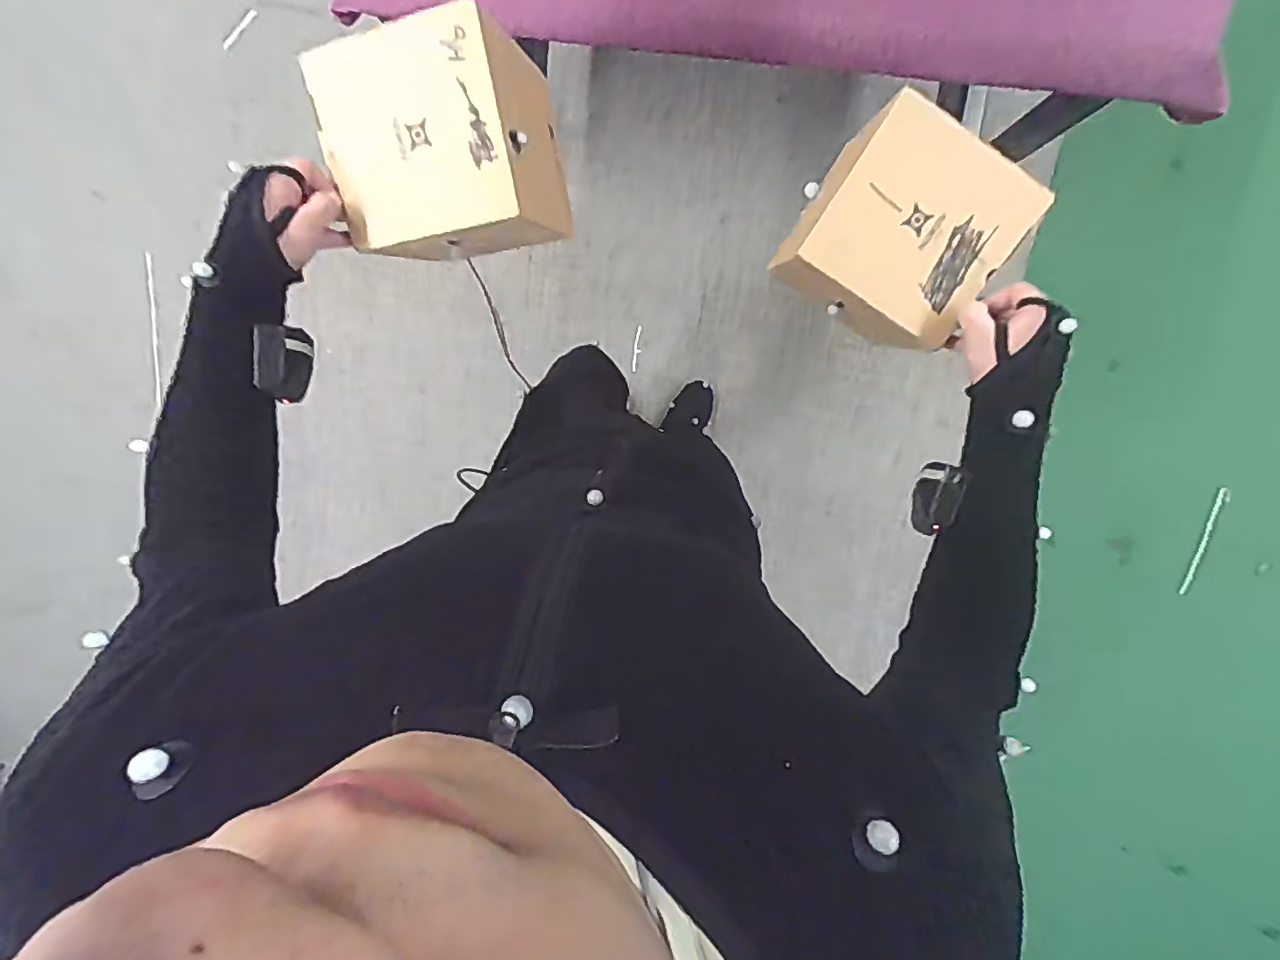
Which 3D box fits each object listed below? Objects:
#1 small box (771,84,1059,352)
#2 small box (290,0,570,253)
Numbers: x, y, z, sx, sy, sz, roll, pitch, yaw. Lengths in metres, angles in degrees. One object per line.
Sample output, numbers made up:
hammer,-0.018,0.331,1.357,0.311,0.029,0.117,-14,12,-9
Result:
small box,0.266,-0.257,0.571,0.179,0.176,0.168,32,105,-6
small box,-0.188,-0.329,0.536,0.179,0.176,0.168,-5,107,13
